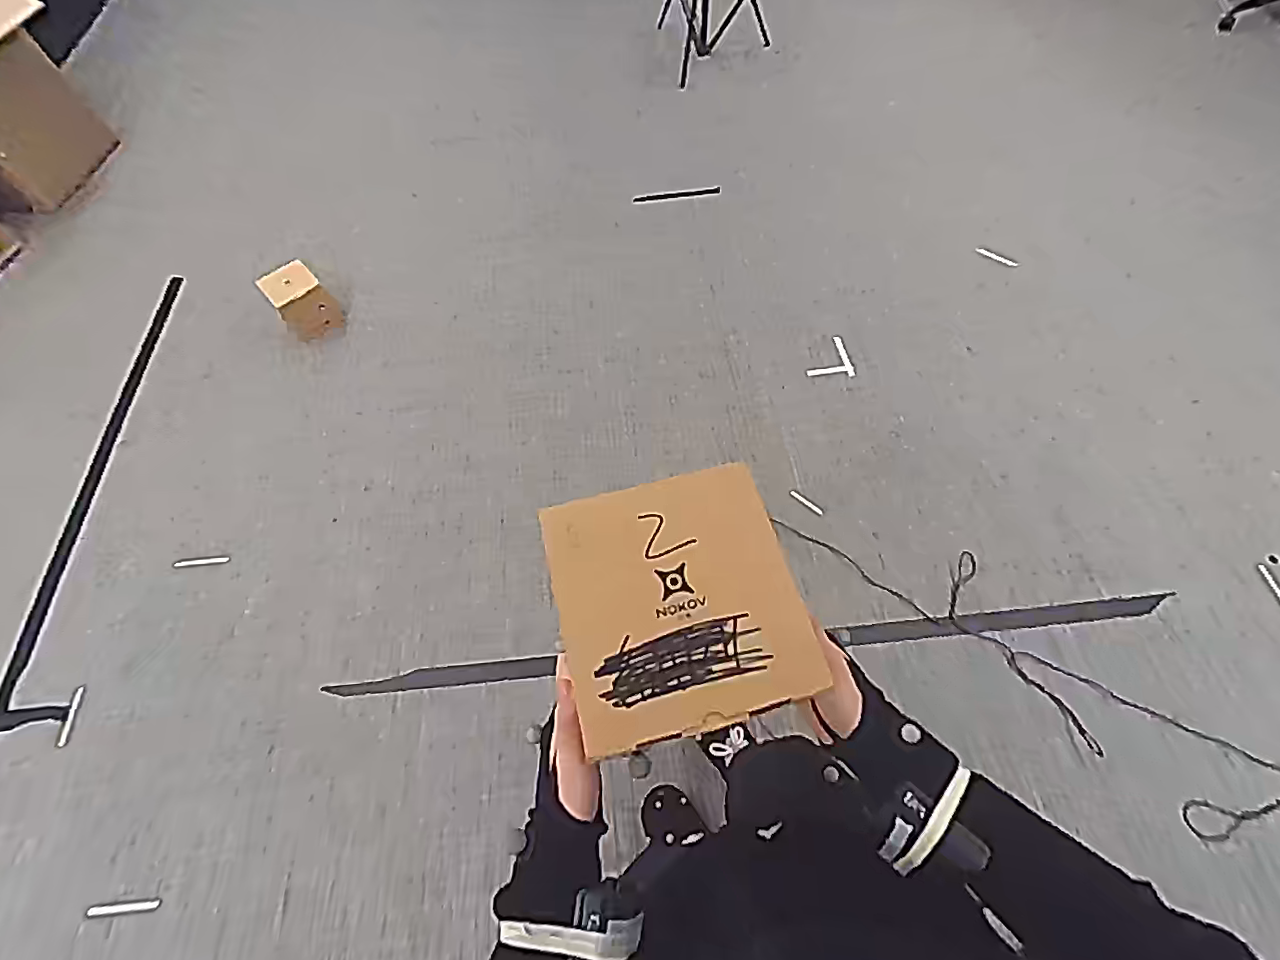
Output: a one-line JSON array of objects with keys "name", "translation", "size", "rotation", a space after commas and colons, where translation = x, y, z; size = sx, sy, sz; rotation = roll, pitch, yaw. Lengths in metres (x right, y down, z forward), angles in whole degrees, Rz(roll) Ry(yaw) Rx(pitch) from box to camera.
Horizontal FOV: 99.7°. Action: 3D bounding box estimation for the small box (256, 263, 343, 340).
[{"name": "small box", "translation": [-1.198, -0.624, 1.917], "size": [0.168, 0.176, 0.179], "rotation": [-40, 67, -19]}]
